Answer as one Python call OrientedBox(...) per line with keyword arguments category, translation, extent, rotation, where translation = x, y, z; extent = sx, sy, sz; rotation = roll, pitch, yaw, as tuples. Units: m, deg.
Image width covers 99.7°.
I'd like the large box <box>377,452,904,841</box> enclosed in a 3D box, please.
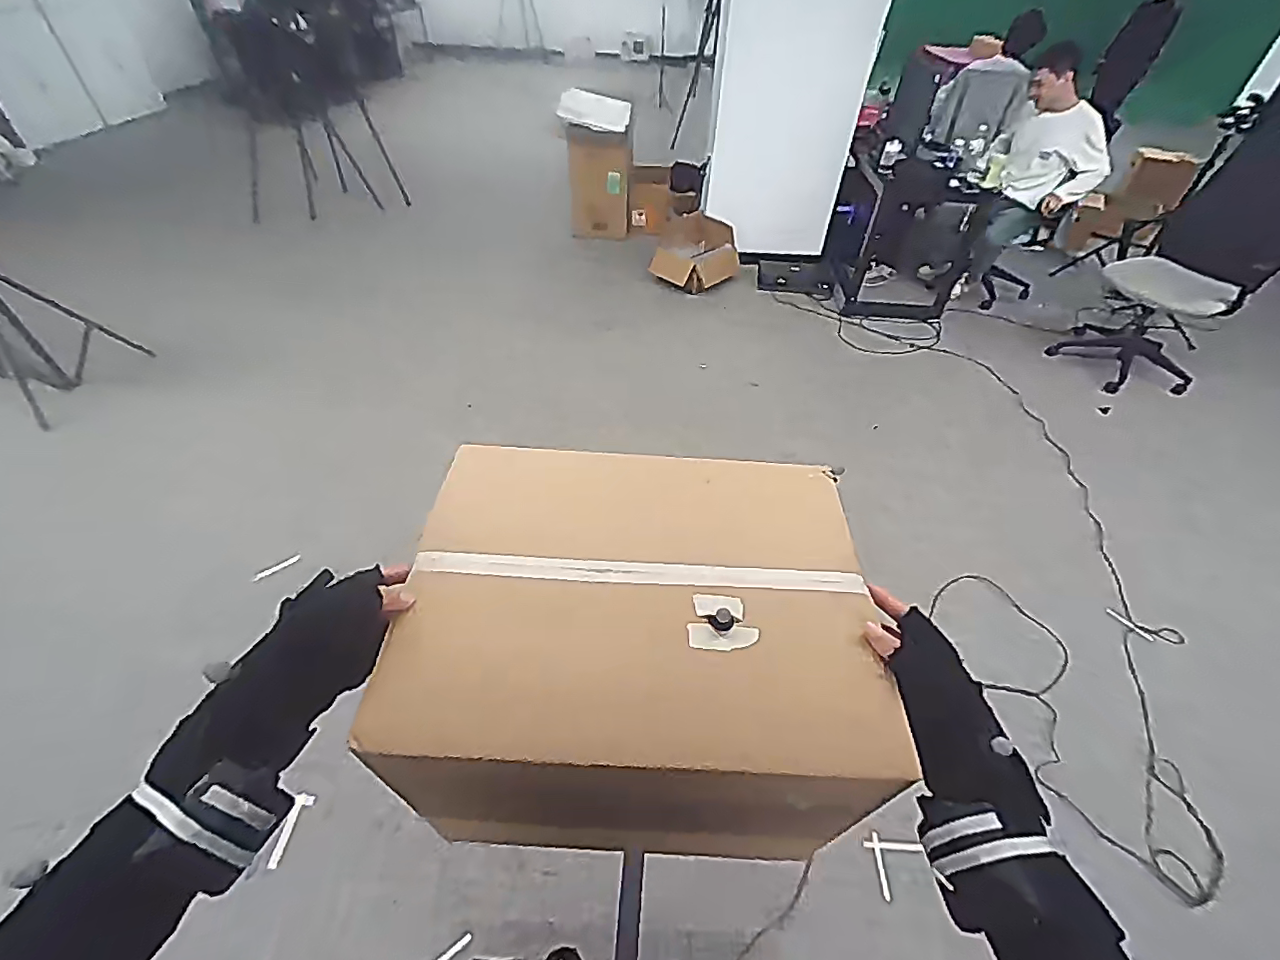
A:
OrientedBox(category="large box", translation=(-0.004, 0.191, 0.608), extent=(0.408, 0.320, 0.320), rotation=(4, 47, -1))
